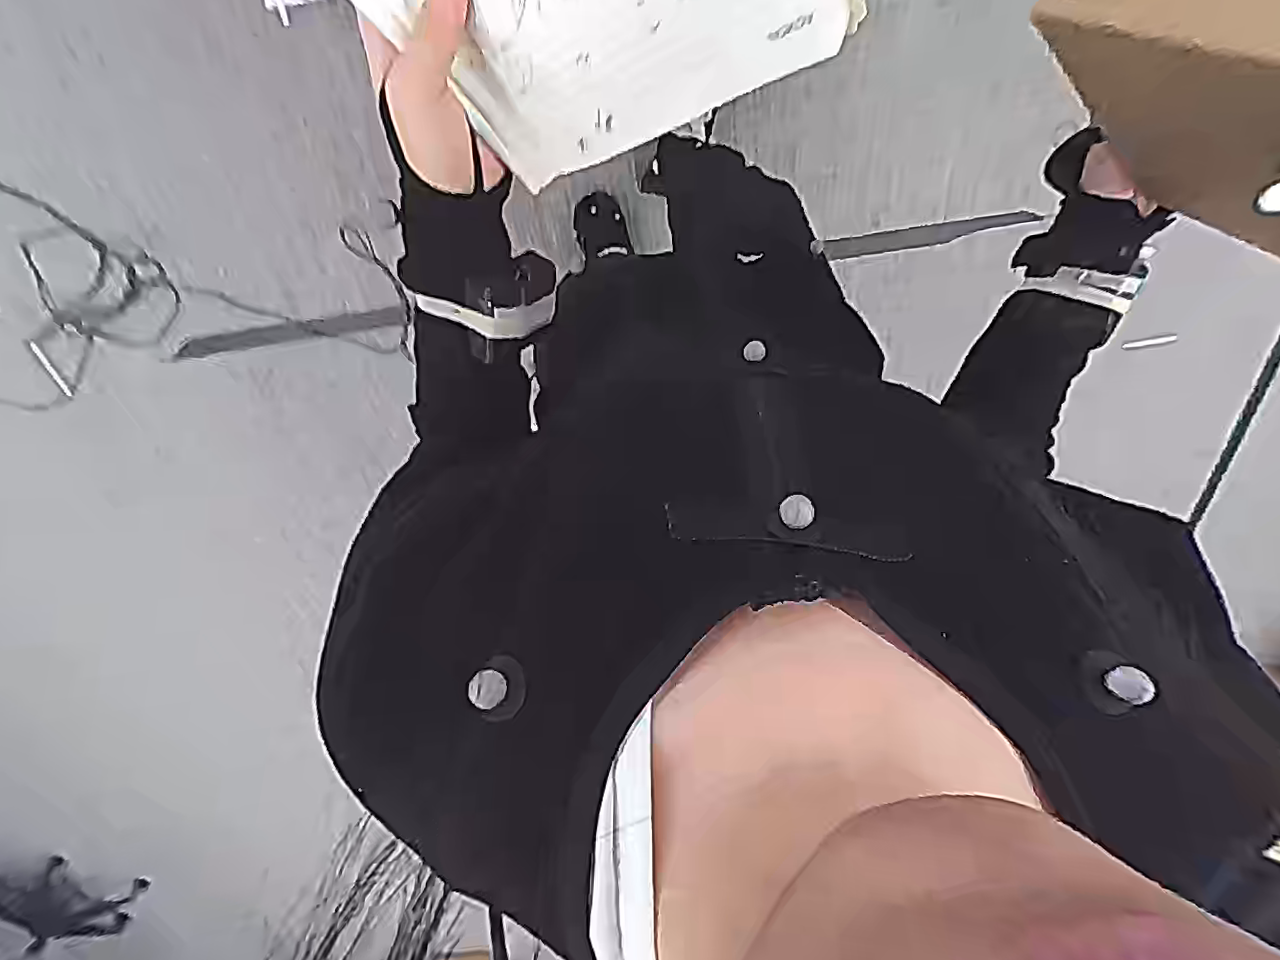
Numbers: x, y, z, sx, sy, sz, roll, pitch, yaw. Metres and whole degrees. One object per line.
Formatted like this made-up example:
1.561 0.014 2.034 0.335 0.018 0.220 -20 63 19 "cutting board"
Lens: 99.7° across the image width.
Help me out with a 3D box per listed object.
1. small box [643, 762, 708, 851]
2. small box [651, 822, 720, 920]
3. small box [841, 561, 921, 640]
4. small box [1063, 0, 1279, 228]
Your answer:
0.104 0.981 1.629 0.179 0.176 0.168 -7 124 -2 "small box"
0.121 1.080 1.498 0.168 0.176 0.179 -5 123 -3 "small box"
0.828 0.417 1.887 0.168 0.176 0.179 31 117 -22 "small box"
0.325 -0.209 0.213 0.179 0.176 0.168 18 129 -31 "small box"
